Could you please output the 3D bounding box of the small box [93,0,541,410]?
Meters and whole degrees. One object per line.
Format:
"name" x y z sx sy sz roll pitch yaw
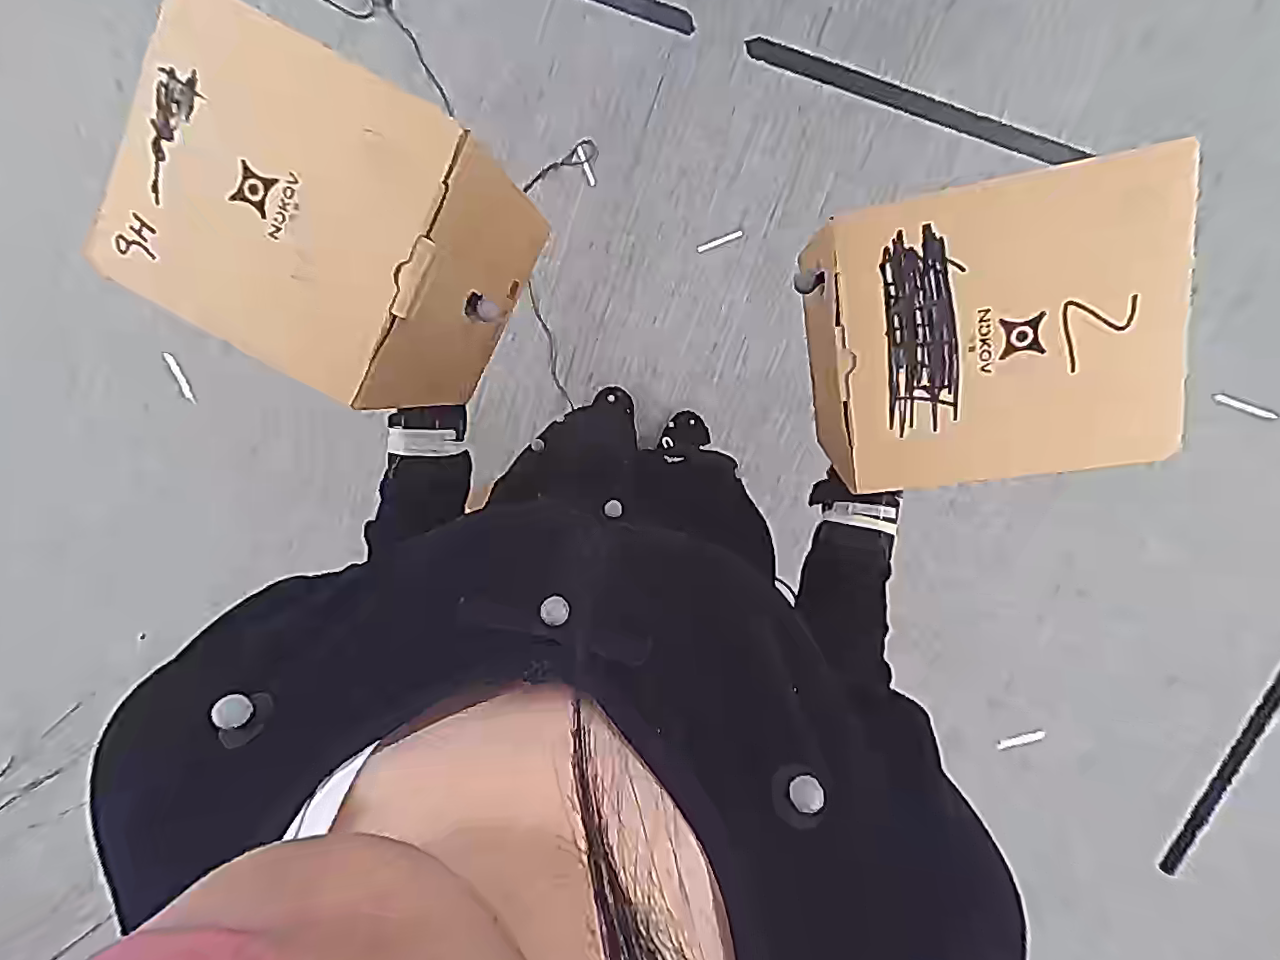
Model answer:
"small box" -0.190 -0.165 0.371 0.179 0.176 0.168 29 101 -1
